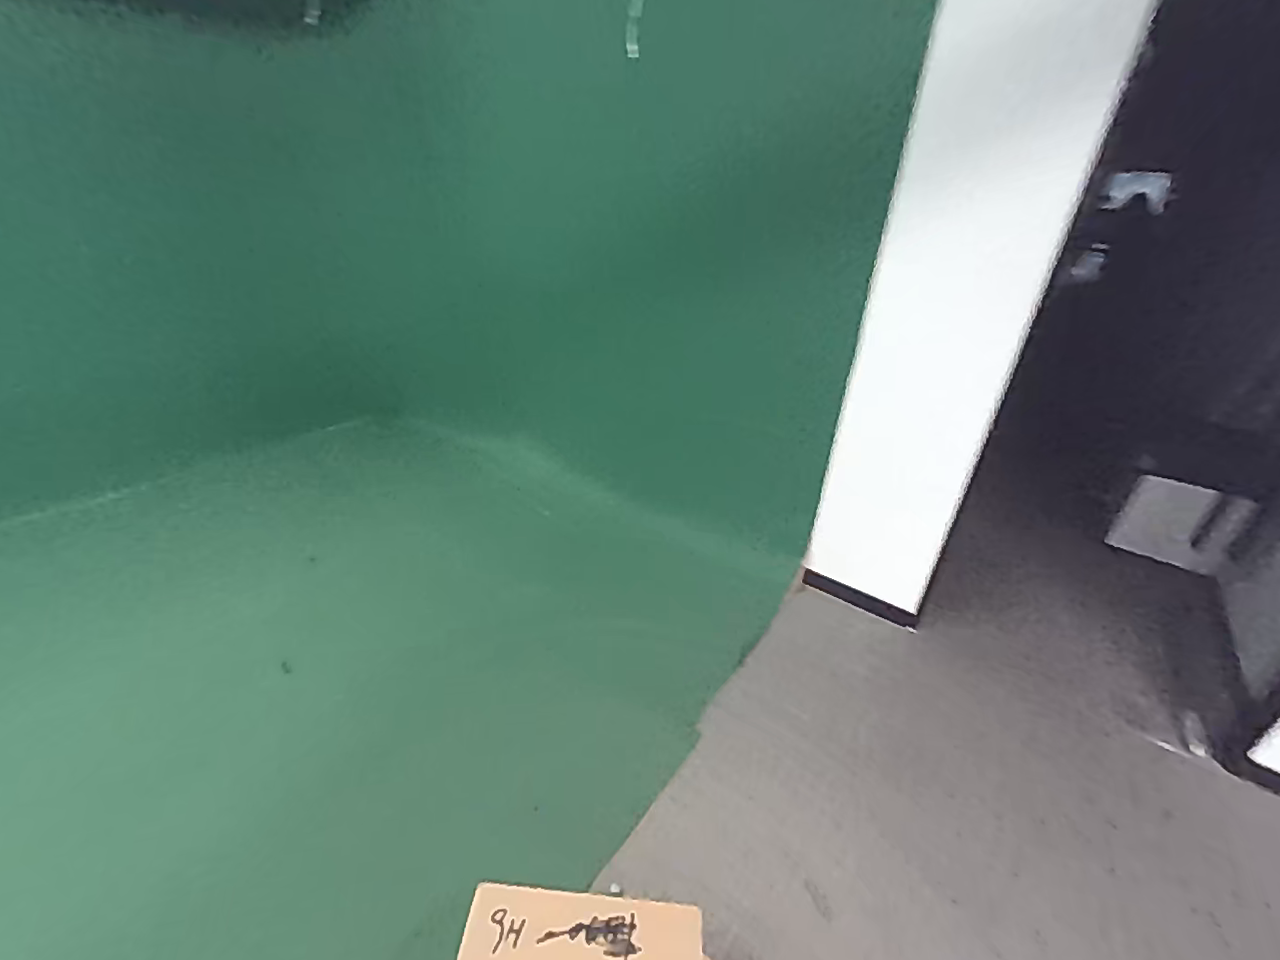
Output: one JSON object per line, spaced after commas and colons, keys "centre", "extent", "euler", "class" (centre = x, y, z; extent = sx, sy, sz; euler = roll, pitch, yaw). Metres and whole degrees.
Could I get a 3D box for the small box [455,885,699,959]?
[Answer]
{"centre": [-0.048, 0.418, 0.376], "extent": [0.168, 0.176, 0.179], "euler": [4, 41, 3], "class": "small box"}
